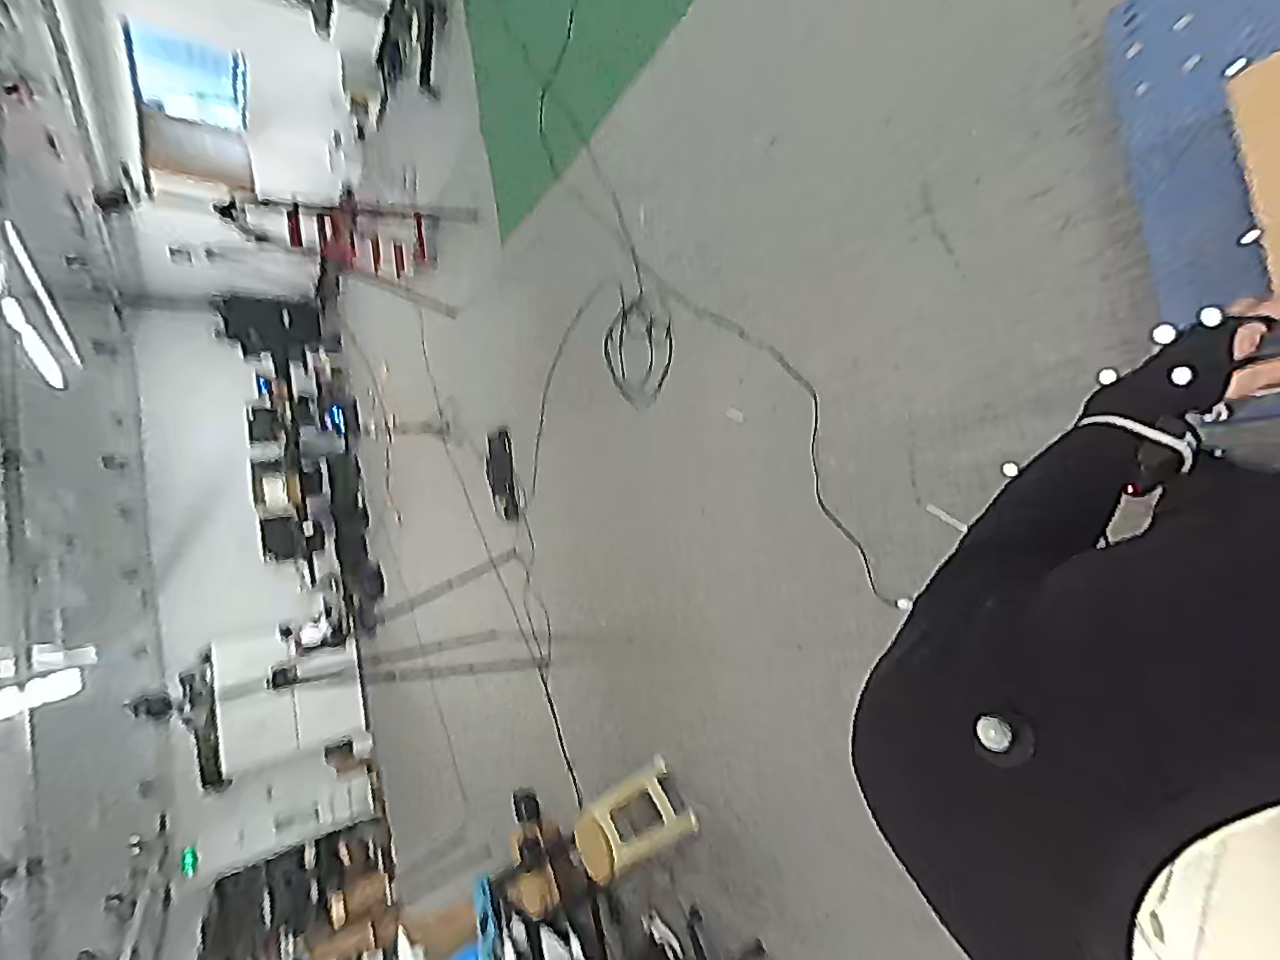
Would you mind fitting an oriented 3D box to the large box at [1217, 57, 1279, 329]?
[{"bbox_3d":[1.109,-0.427,0.770,0.320,0.320,0.408,-14,82,50],"label":"large box"}]
